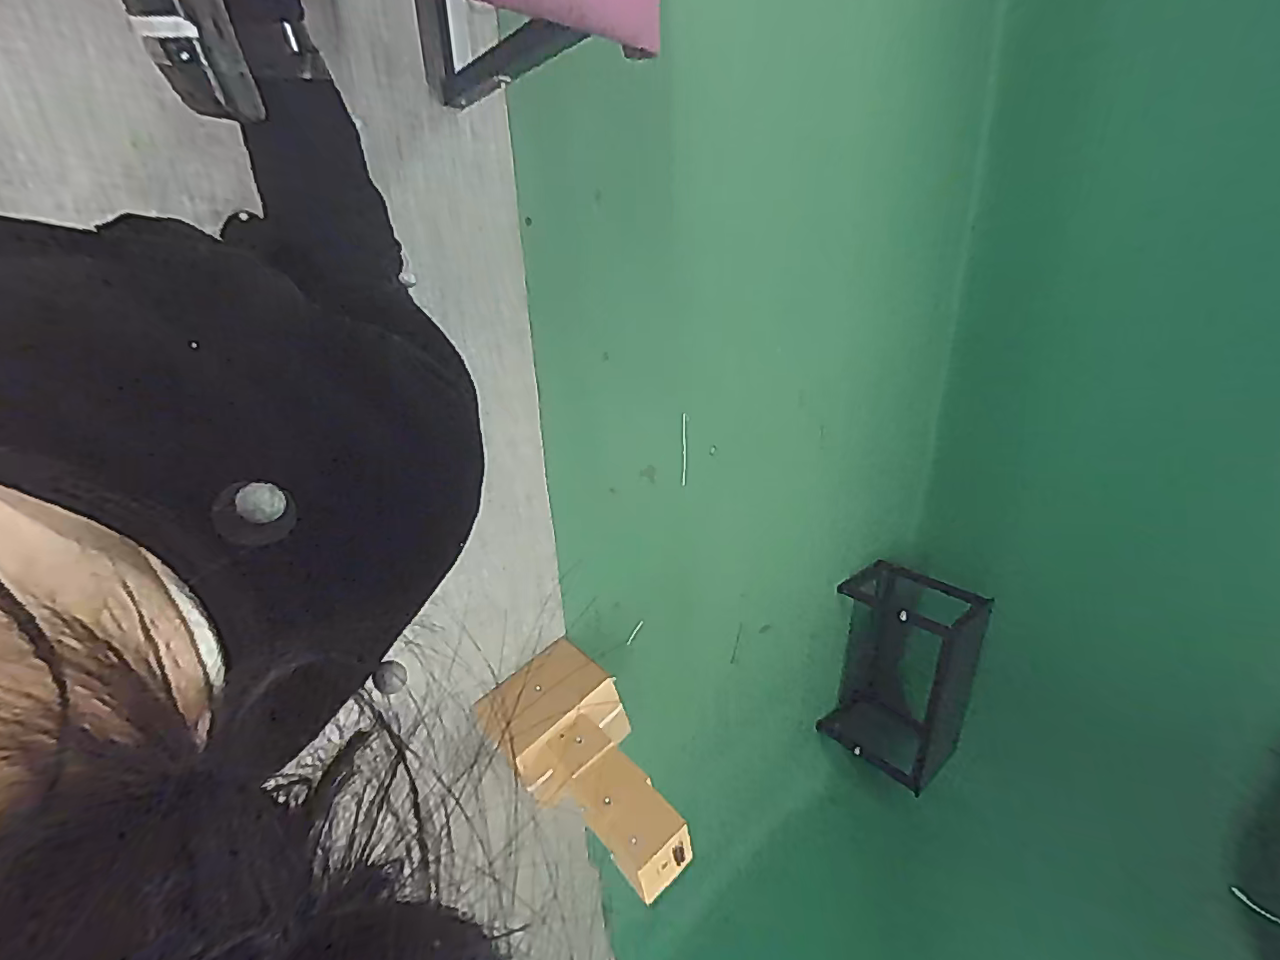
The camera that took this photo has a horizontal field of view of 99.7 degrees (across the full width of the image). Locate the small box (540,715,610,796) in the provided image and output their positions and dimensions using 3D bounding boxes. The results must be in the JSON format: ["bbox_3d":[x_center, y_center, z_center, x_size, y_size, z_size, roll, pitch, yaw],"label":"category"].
[{"bbox_3d":[-0.201,0.890,1.742,0.168,0.176,0.179,-28,122,-32],"label":"small box"}]

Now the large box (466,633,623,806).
[{"bbox_3d":[-0.337,0.840,1.944,0.408,0.320,0.320,-35,127,-31],"label":"large box"}]

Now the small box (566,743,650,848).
[{"bbox_3d":[-0.096,0.940,1.628,0.179,0.176,0.168,-27,122,-33],"label":"small box"}]
